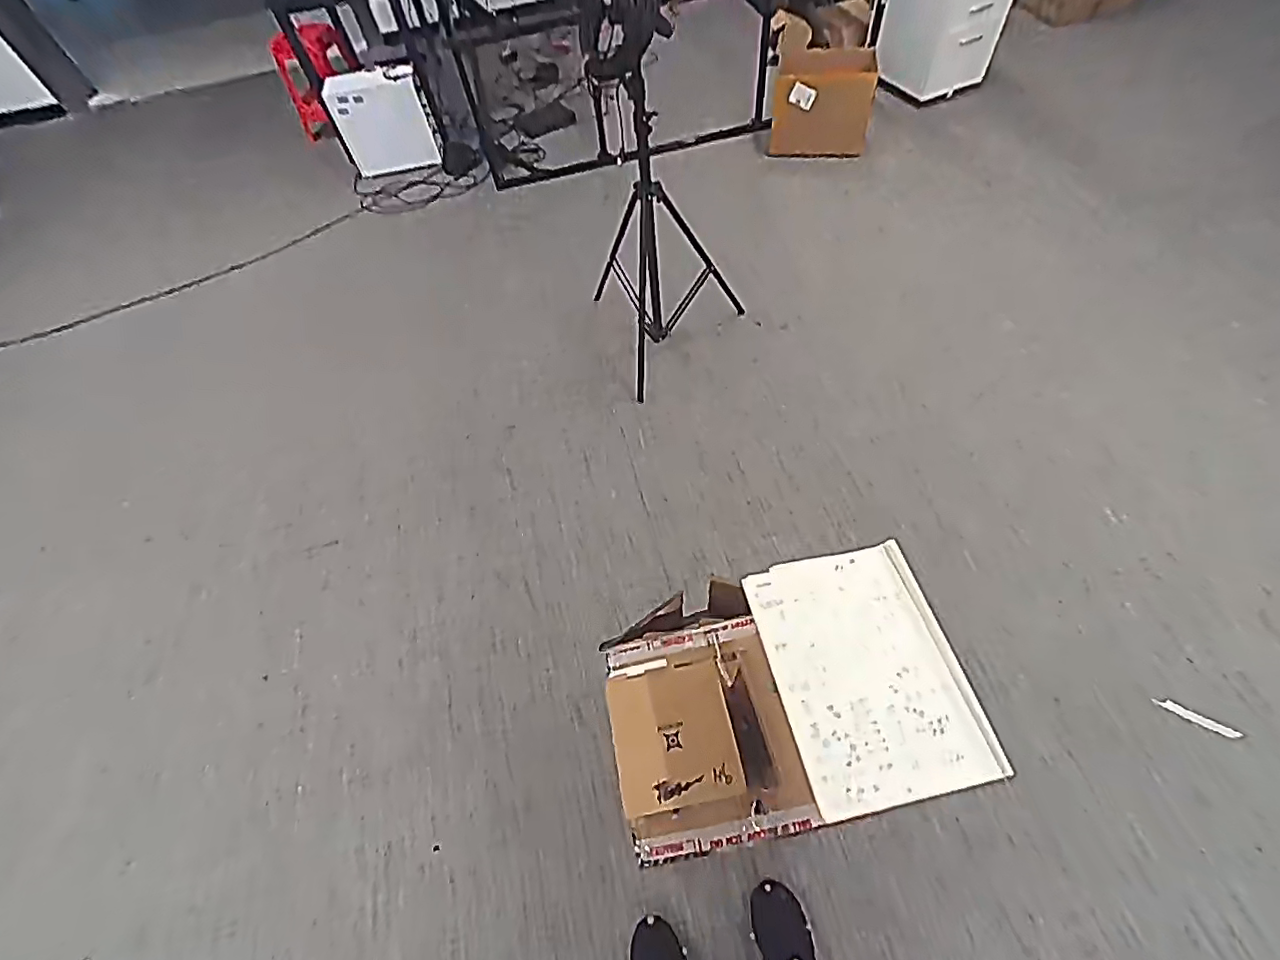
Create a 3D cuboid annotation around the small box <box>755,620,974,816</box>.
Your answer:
[{"bbox_3d":[0.250,0.294,0.661,0.168,0.176,0.179,-12,58,-4],"label":"small box"}]
